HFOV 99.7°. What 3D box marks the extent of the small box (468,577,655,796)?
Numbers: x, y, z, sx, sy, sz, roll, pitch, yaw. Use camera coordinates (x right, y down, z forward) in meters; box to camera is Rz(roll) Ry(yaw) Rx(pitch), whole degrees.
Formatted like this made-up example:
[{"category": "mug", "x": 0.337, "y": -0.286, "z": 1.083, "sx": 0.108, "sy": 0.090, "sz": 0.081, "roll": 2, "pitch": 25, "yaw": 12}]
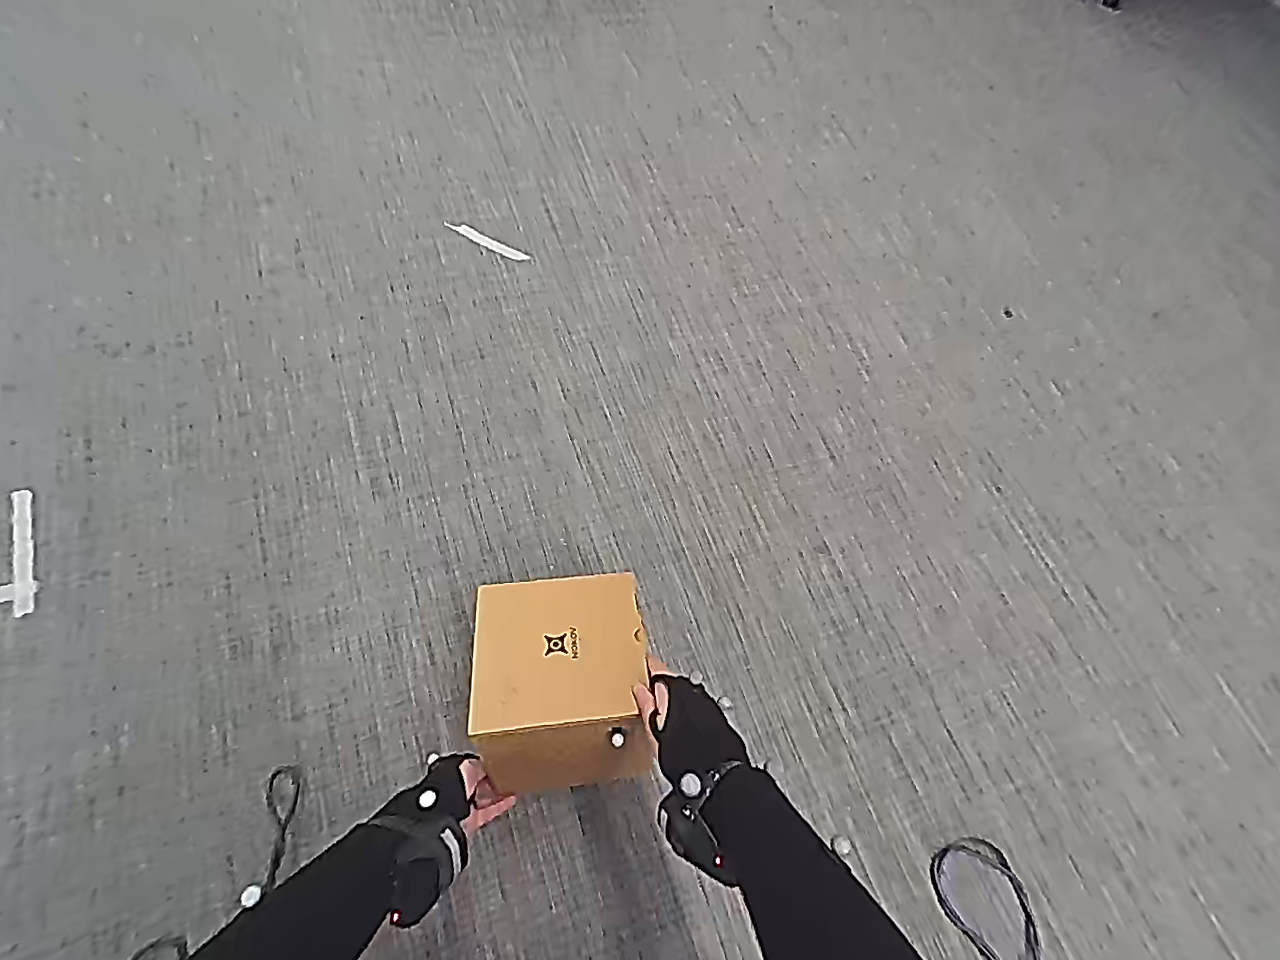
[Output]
[{"category": "small box", "x": -0.085, "y": 0.232, "z": 0.608, "sx": 0.179, "sy": 0.176, "sz": 0.168, "roll": -4, "pitch": 44, "yaw": -9}]
